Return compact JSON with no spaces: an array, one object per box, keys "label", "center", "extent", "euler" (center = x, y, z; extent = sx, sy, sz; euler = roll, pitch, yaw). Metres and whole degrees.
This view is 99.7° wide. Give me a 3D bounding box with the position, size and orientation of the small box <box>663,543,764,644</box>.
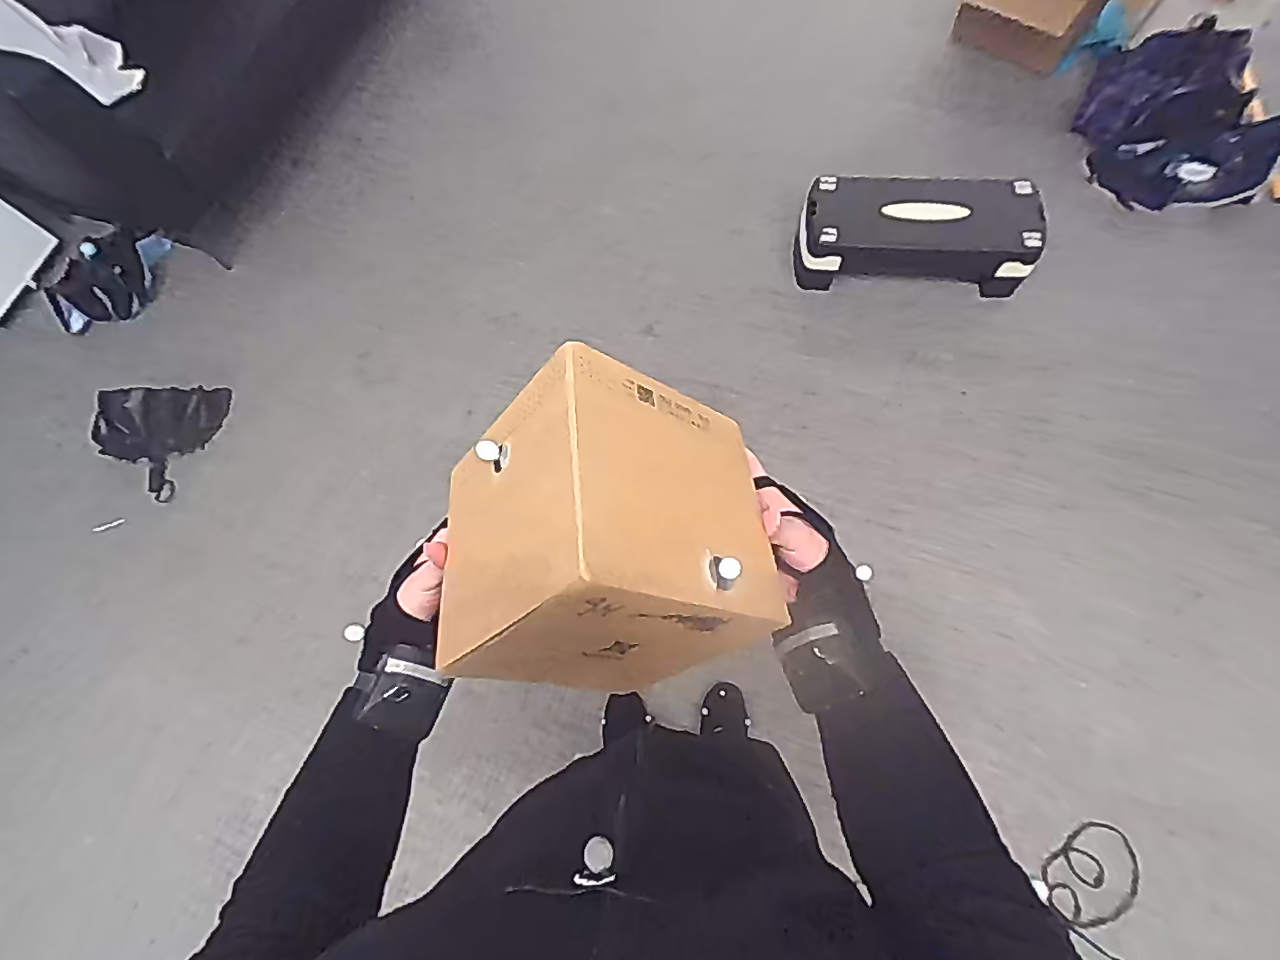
[{"label":"small box","center":[0.162,0.264,1.234],"extent":[0.179,0.176,0.168],"euler":[-21,69,-2]}]
